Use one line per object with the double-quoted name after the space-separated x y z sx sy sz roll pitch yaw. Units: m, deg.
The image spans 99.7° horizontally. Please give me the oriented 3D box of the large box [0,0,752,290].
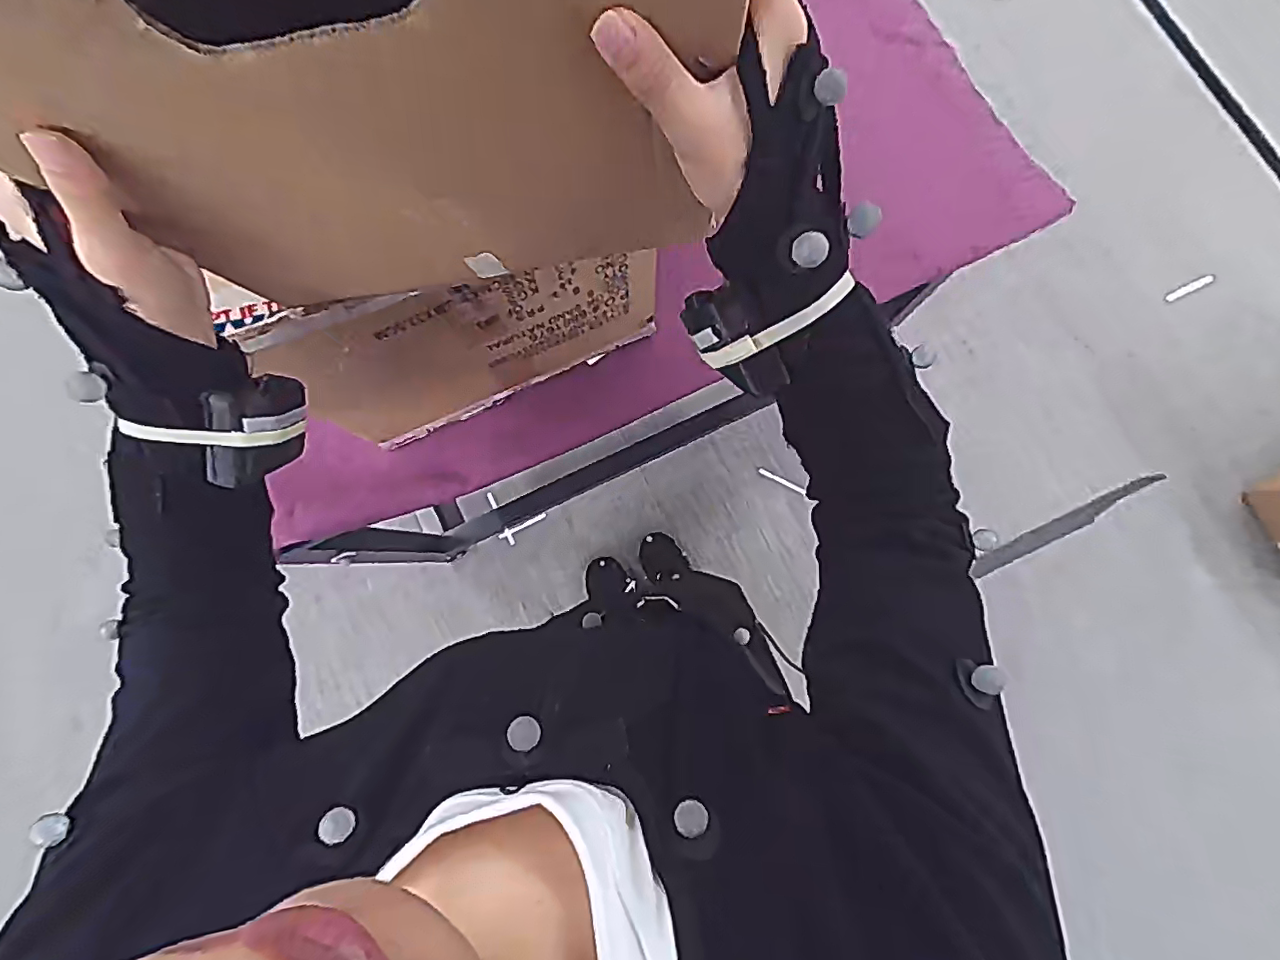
-0.135 -0.353 0.236 0.320 0.320 0.408 -9 89 4 "large box"
